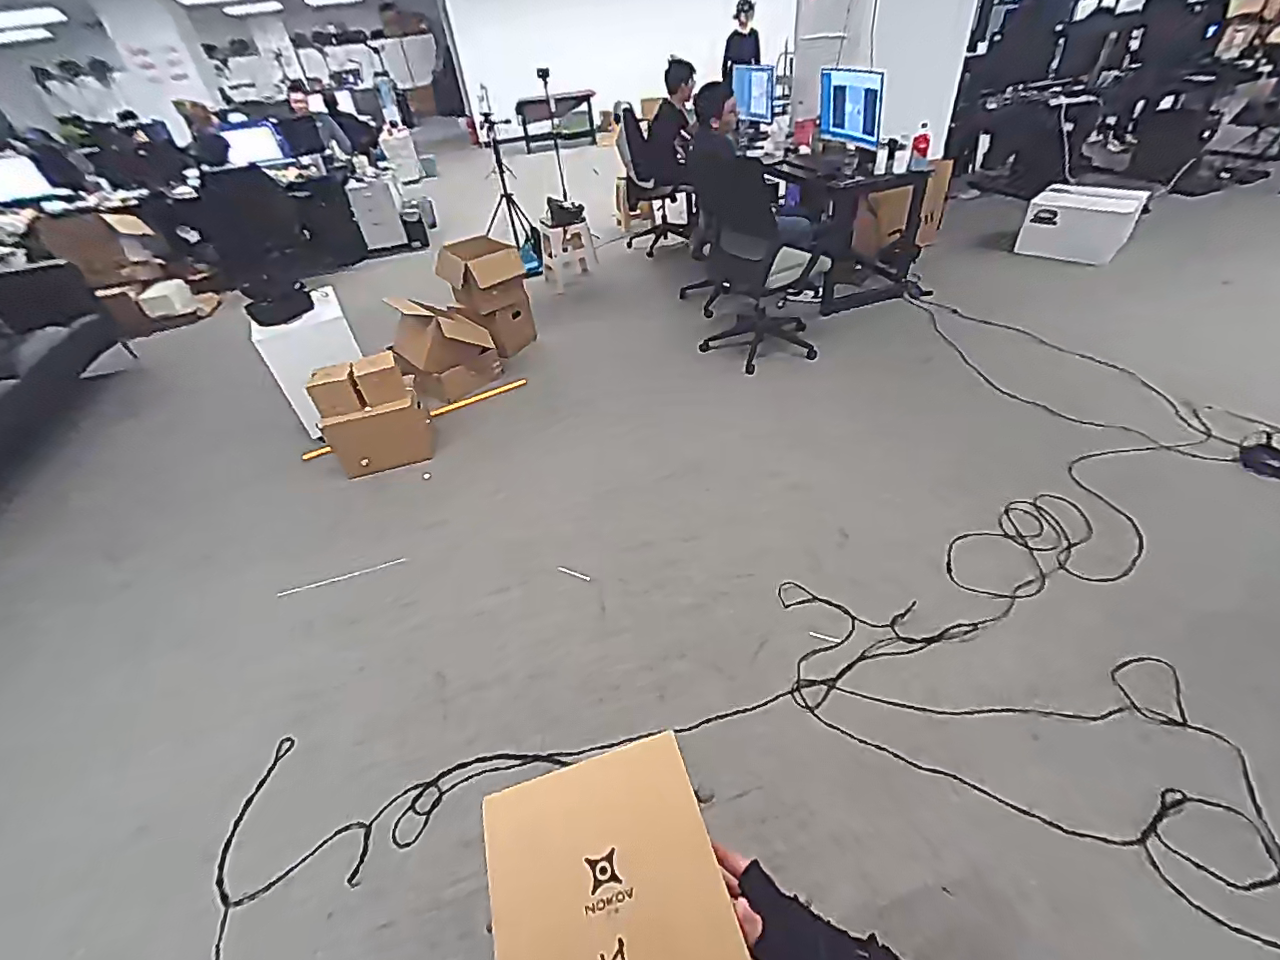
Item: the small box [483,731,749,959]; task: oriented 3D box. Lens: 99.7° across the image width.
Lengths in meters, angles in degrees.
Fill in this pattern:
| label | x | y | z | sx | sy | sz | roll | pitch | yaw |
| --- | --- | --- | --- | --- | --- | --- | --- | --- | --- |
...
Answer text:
| label | x | y | z | sx | sy | sz | roll | pitch | yaw |
| --- | --- | --- | --- | --- | --- | --- | --- | --- | --- |
| small box | -0.018 | 0.343 | 0.439 | 0.168 | 0.176 | 0.179 | -16 | 45 | -7 |
